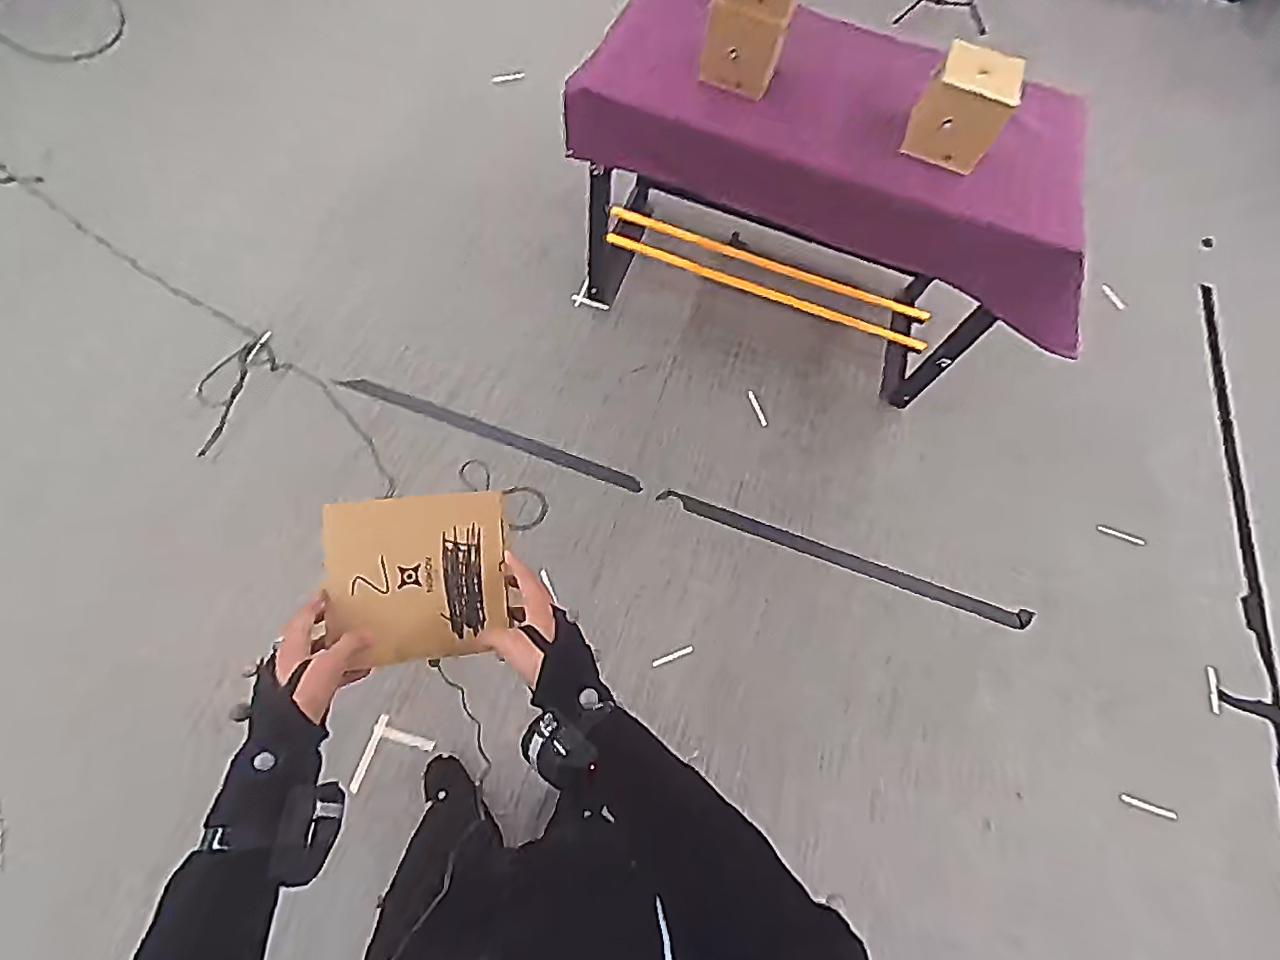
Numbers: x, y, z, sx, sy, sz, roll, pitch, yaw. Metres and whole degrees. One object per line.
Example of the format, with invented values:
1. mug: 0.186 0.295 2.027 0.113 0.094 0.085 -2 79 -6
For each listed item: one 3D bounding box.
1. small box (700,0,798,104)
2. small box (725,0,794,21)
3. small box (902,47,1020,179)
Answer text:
1. small box: 0.251 -1.034 1.271 0.168 0.176 0.179 22 67 2
2. small box: 0.268 -1.109 1.125 0.168 0.176 0.179 18 66 1
3. small box: 0.732 -0.837 1.246 0.168 0.176 0.179 22 66 3
